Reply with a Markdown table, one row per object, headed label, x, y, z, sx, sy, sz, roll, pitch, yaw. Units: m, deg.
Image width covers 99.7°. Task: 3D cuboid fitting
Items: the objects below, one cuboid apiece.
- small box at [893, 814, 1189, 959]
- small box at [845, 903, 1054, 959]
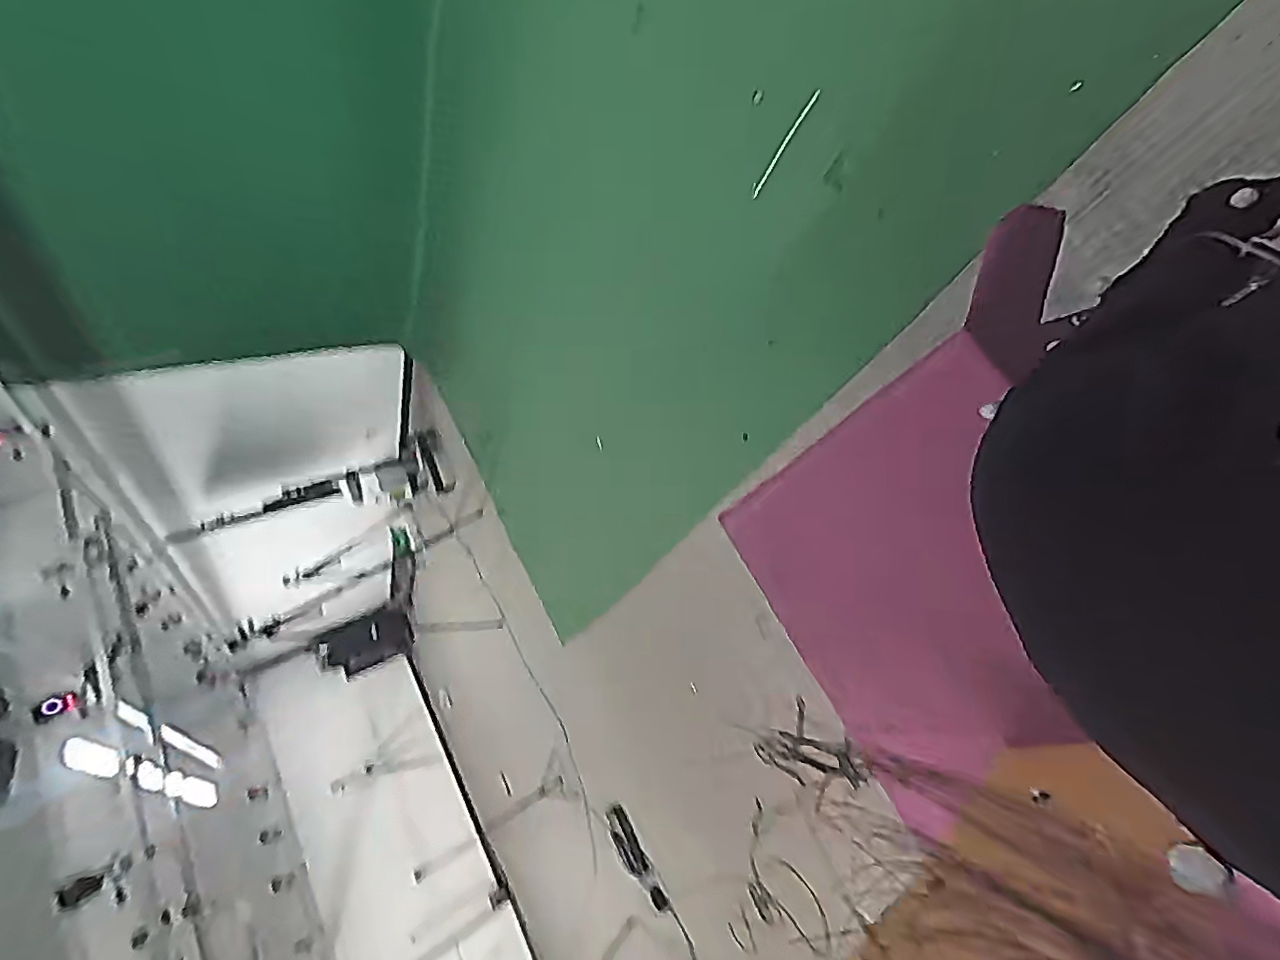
| label | x | y | z | sx | sy | sz | roll | pitch | yaw |
| --- | --- | --- | --- | --- | --- | --- | --- | --- | --- |
| small box | 0.427 | 0.491 | 0.585 | 0.168 | 0.176 | 0.179 | 60 | 143 | 15 |
| small box | 0.297 | 0.535 | 0.497 | 0.168 | 0.176 | 0.179 | 60 | 144 | 15 |
